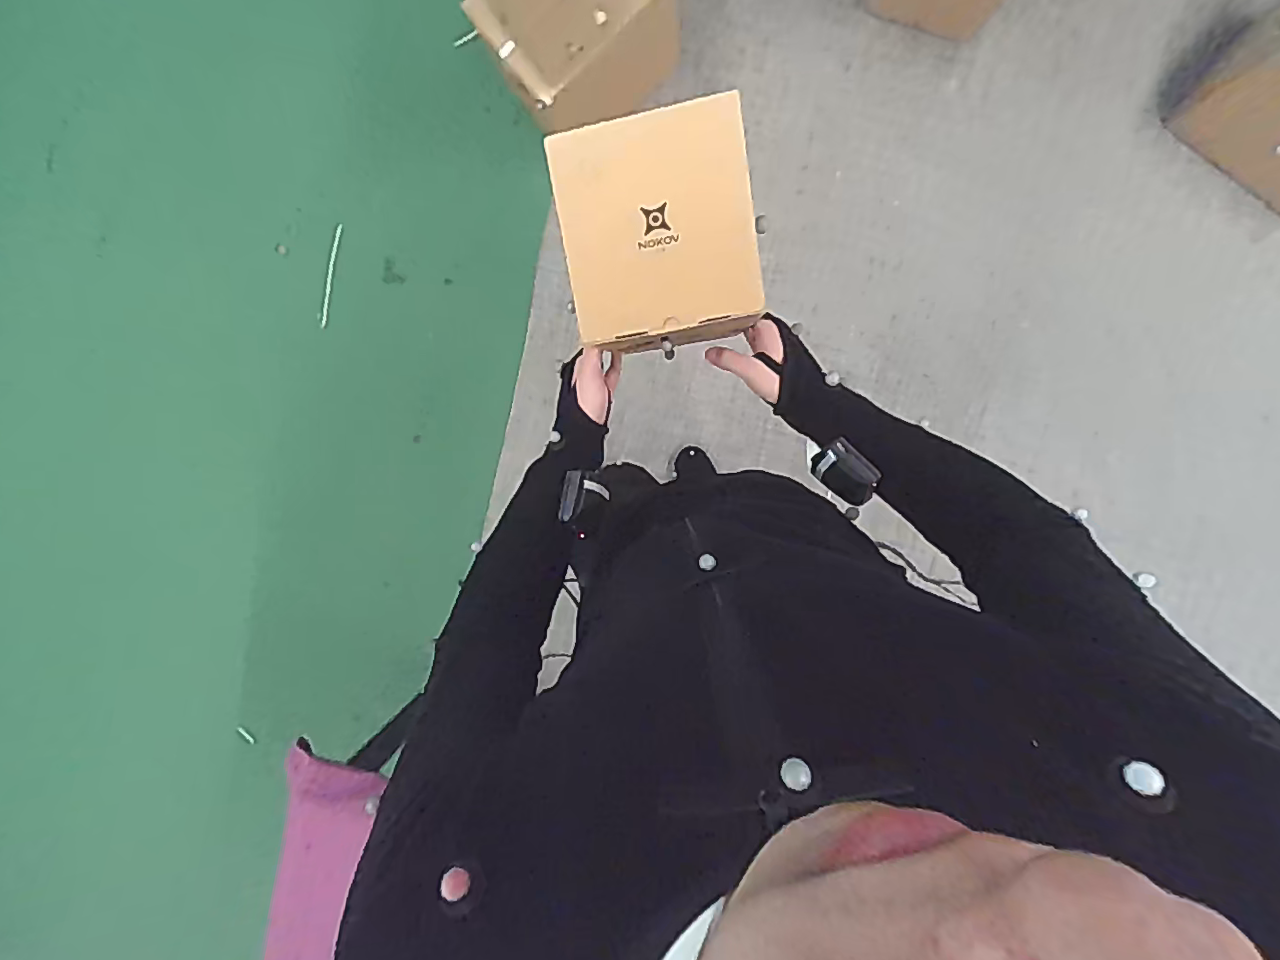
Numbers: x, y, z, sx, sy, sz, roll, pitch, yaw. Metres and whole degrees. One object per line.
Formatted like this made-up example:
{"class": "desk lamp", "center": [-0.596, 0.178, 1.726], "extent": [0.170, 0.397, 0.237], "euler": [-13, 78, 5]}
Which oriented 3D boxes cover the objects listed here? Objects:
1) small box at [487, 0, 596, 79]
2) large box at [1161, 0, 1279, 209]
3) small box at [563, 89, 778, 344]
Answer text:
{"class": "small box", "center": [-0.217, -1.017, 1.149], "extent": [0.168, 0.176, 0.179], "euler": [-41, 92, 9]}
{"class": "large box", "center": [1.555, -0.891, 1.207], "extent": [0.408, 0.320, 0.320], "euler": [38, 99, 2]}
{"class": "small box", "center": [0.033, -0.236, 0.534], "extent": [0.168, 0.176, 0.179], "euler": [-8, 102, 7]}
